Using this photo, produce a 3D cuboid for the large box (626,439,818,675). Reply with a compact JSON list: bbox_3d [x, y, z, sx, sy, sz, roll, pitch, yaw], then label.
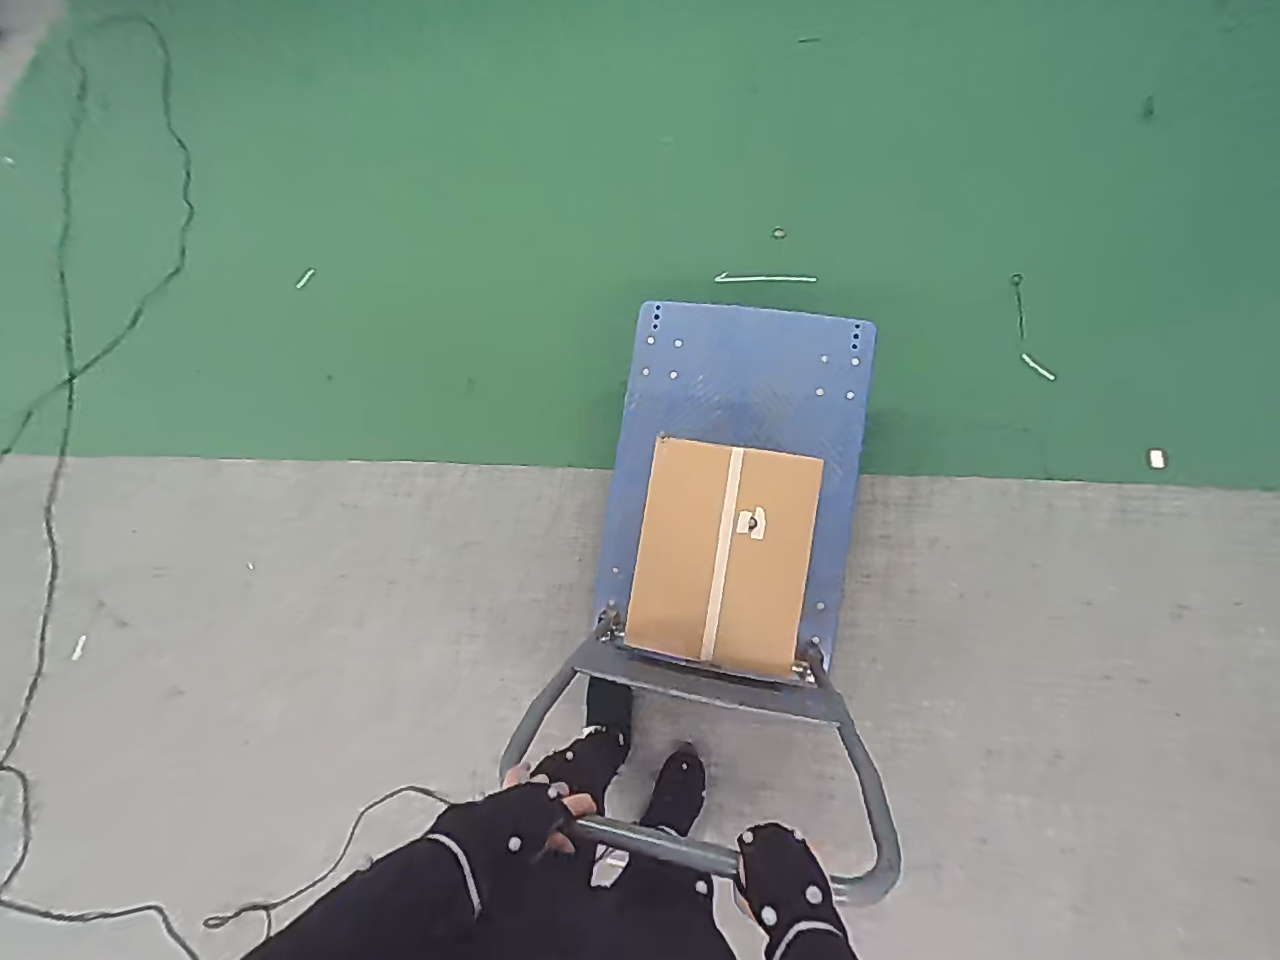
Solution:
[{"bbox_3d":[0.176,0.149,1.149,0.320,0.320,0.408,9,87,10],"label":"large box"}]
